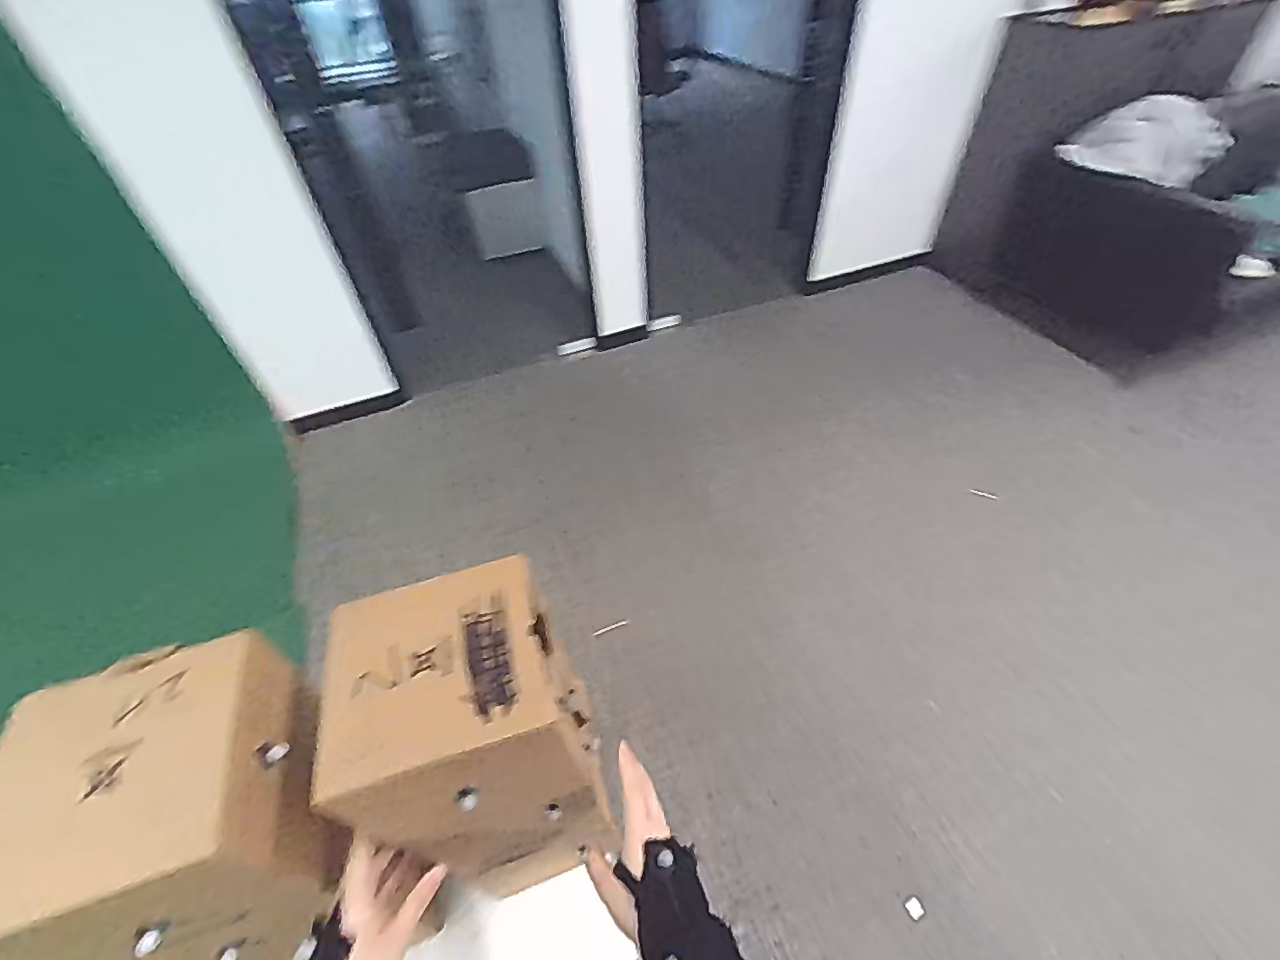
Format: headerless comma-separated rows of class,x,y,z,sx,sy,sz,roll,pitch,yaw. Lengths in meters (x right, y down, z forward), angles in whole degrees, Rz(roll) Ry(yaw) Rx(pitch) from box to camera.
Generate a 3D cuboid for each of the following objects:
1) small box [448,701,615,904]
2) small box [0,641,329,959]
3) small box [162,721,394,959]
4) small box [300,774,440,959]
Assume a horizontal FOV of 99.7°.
small box,-0.139,0.435,0.731,0.179,0.176,0.168,-19,47,-11
small box,-0.378,0.270,0.446,0.168,0.176,0.179,-15,47,-14
small box,-0.376,0.389,0.559,0.179,0.176,0.168,-16,47,-14
small box,-0.368,0.507,0.675,0.179,0.176,0.168,-15,48,-13
